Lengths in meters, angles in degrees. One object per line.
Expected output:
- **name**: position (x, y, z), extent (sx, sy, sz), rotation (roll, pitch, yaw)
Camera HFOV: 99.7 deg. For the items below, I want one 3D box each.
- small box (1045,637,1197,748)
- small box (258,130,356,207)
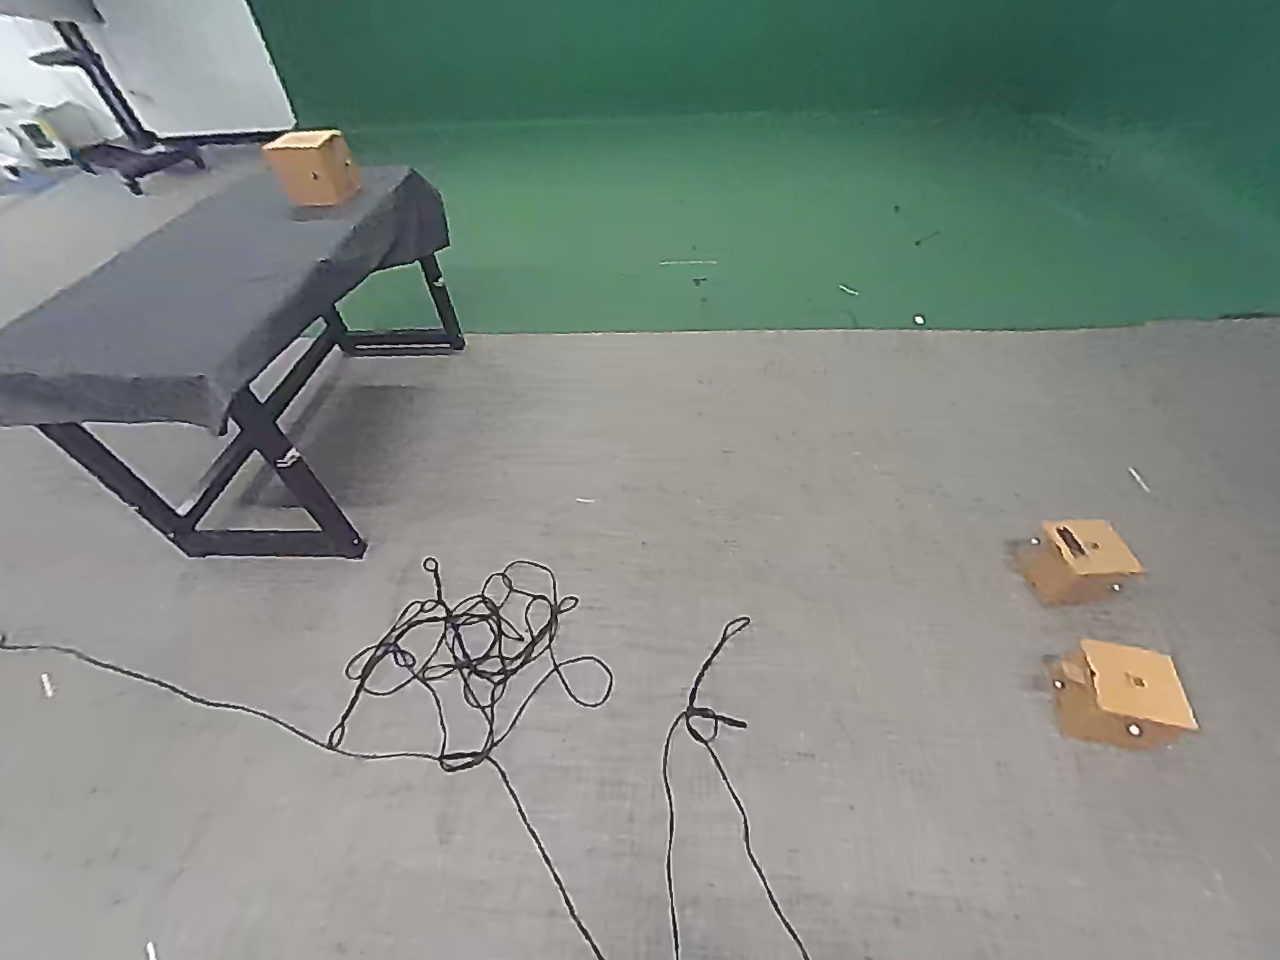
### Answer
- **small box**: position (1.062, 0.480, 1.212), extent (0.179, 0.176, 0.168), rotation (8, 49, 12)
- **small box**: position (-1.036, -0.979, 1.703), extent (0.179, 0.176, 0.168), rotation (0, 47, 6)
